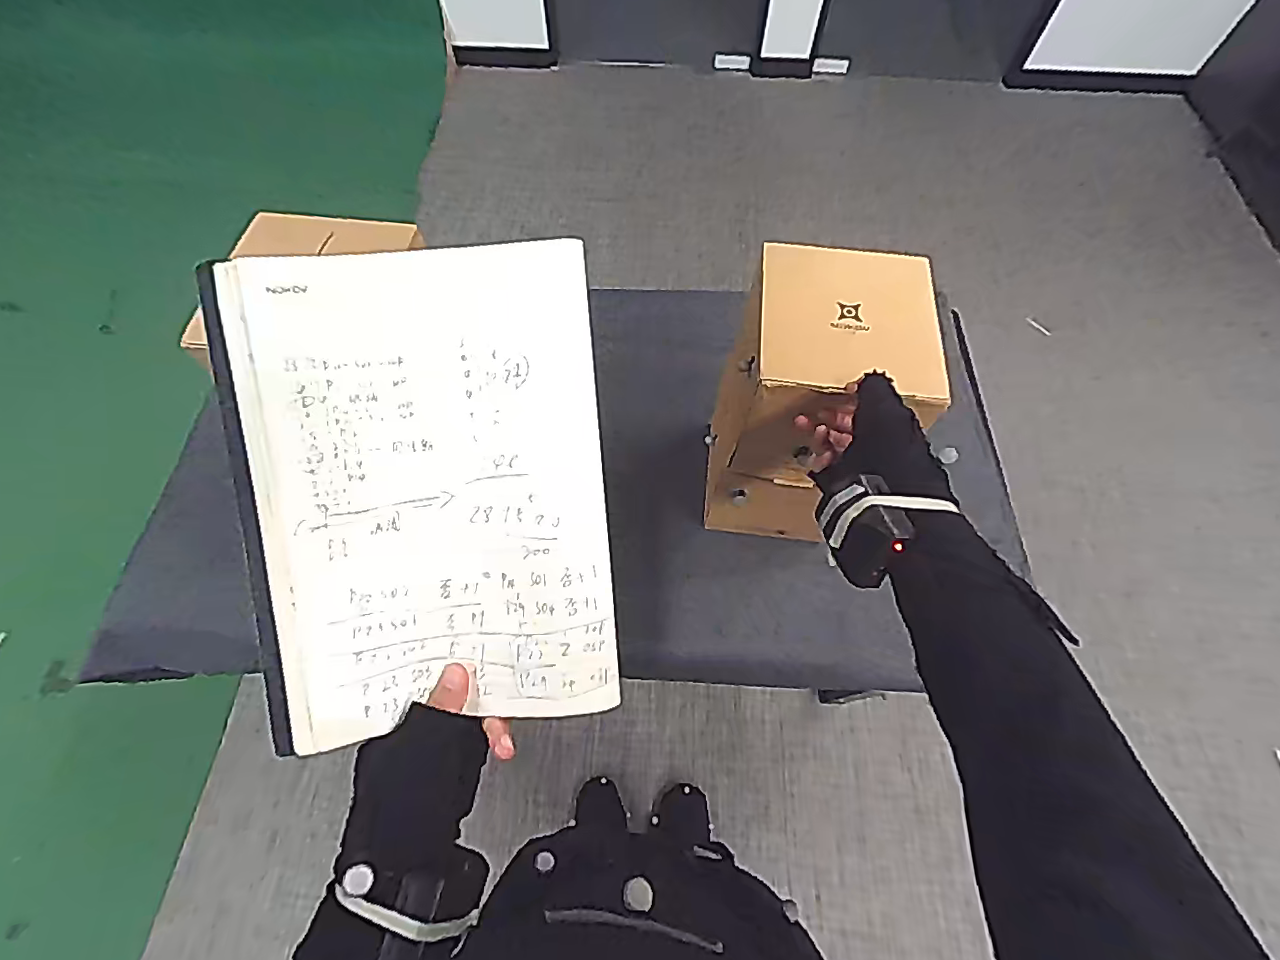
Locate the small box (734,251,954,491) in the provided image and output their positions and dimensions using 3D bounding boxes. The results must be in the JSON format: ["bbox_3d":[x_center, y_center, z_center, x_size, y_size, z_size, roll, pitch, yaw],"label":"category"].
[{"bbox_3d":[0.197,-0.109,0.576,0.168,0.176,0.179,6,63,2],"label":"small box"}]

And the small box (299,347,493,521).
[{"bbox_3d":[-0.306,-0.062,0.726,0.168,0.176,0.179,3,63,1],"label":"small box"}]

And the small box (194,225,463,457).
[{"bbox_3d":[-0.307,-0.141,0.583,0.168,0.176,0.179,5,61,1],"label":"small box"}]
